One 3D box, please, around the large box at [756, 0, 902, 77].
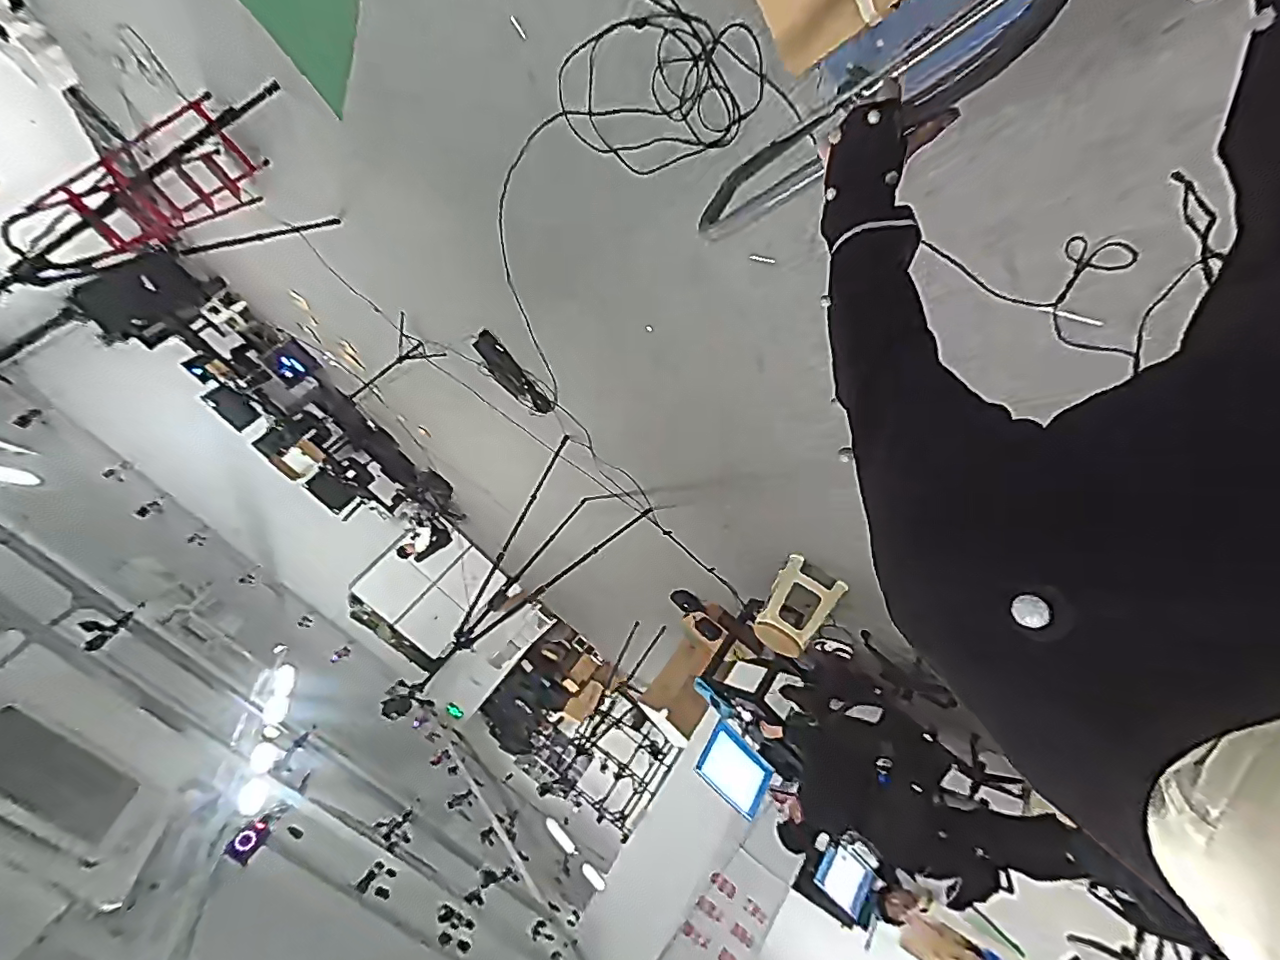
[{"bbox_3d":[0.336,-0.954,0.819,0.320,0.320,0.408,-1,133,54],"label":"large box"}]
